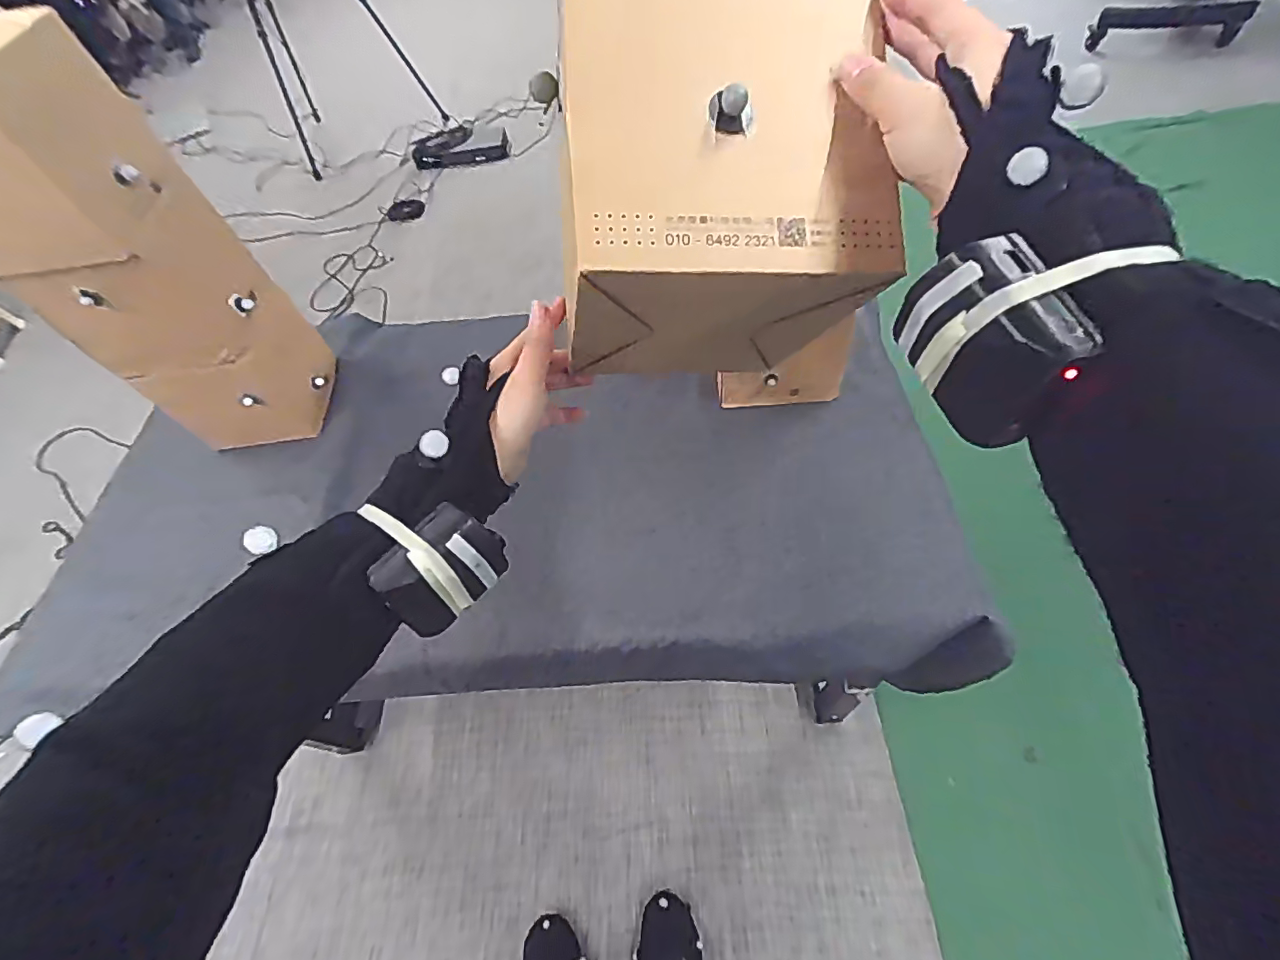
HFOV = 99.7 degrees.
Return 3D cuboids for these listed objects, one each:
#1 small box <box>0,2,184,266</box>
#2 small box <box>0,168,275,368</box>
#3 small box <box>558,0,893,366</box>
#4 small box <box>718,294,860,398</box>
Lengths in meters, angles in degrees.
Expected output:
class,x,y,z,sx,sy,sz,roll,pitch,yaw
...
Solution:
class,x,y,z,sx,sy,sz,roll,pitch,yaw
small box,-0.638,-0.342,0.552,0.179,0.176,0.168,-6,59,2
small box,-0.625,-0.264,0.697,0.179,0.176,0.168,-8,59,1
small box,0.036,-0.178,0.342,0.168,0.179,0.176,-3,87,-9
small box,0.193,-0.238,0.767,0.168,0.176,0.179,-3,59,6
